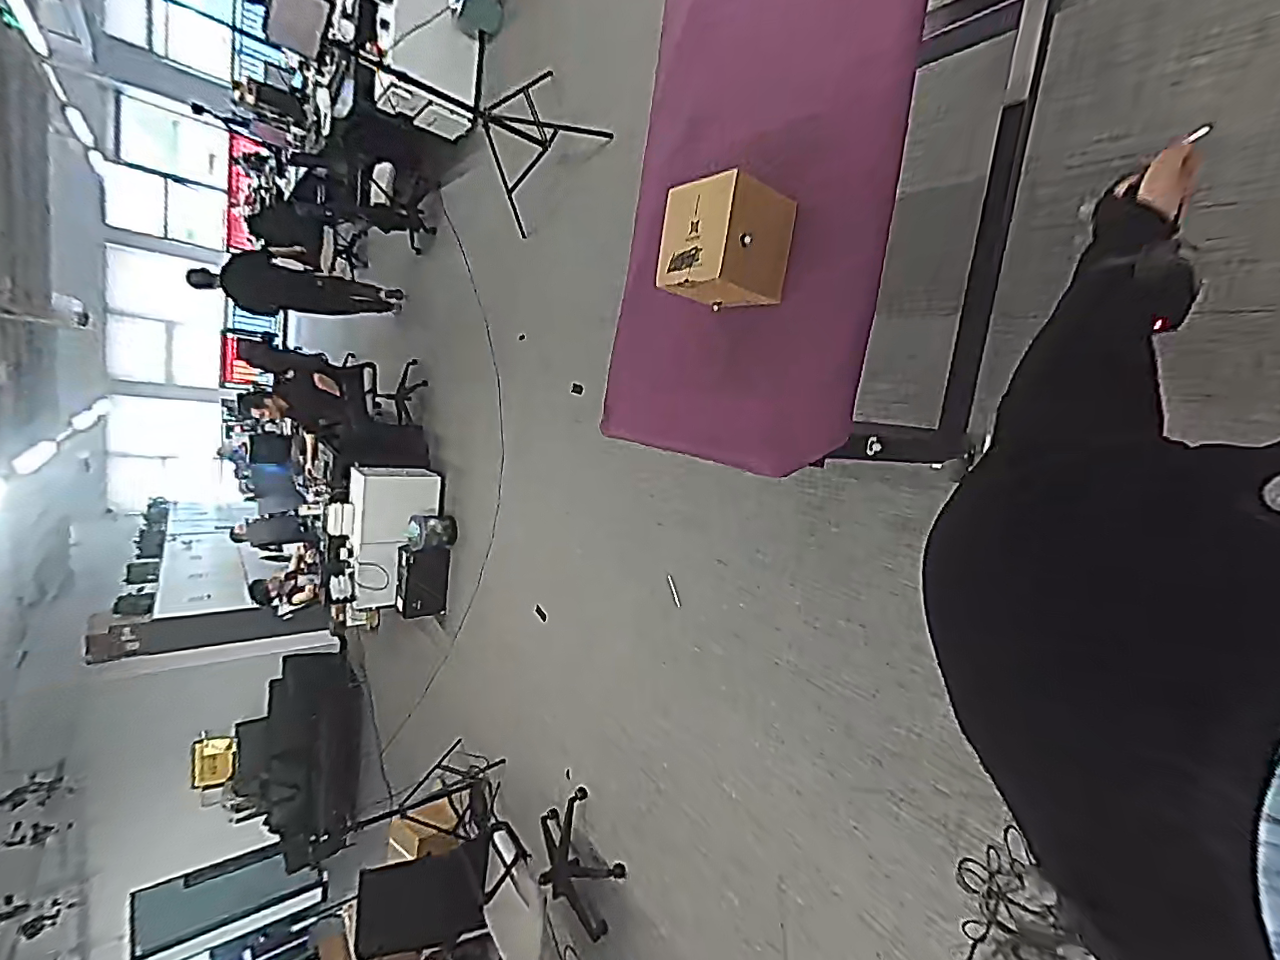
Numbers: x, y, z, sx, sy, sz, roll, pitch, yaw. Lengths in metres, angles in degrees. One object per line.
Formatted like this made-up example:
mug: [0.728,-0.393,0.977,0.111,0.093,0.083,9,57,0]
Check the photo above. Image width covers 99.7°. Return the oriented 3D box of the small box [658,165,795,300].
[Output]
small box: [0.158,-0.431,0.979,0.168,0.176,0.179,18,103,49]
